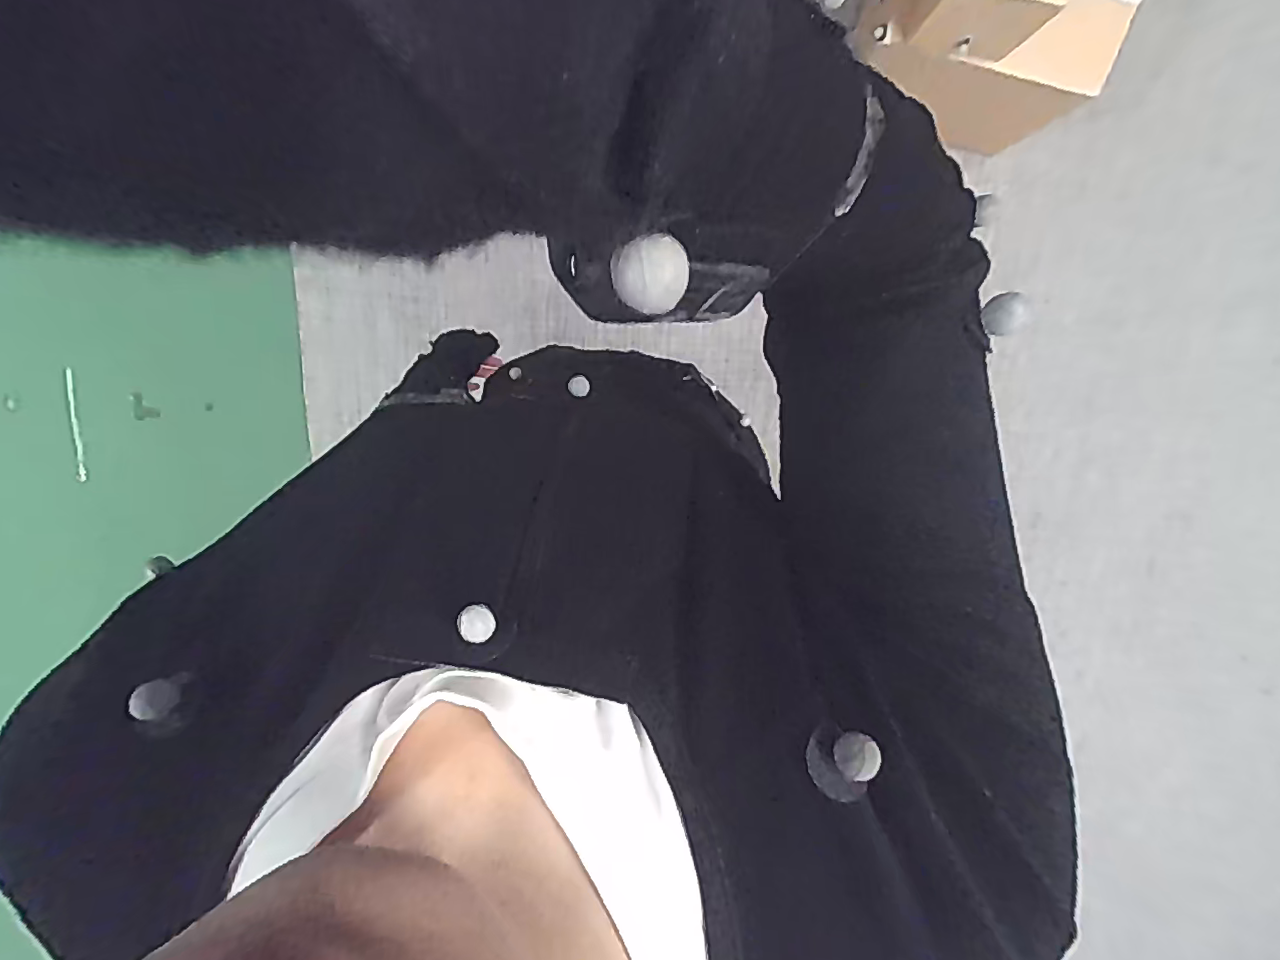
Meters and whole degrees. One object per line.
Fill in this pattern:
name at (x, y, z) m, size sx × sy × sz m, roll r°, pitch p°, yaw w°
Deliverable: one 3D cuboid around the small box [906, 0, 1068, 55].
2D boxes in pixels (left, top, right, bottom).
small box at (0.558, -0.808, 0.851) m, size 0.179 × 0.176 × 0.168 m, roll 9°, pitch 105°, yaw 0°
